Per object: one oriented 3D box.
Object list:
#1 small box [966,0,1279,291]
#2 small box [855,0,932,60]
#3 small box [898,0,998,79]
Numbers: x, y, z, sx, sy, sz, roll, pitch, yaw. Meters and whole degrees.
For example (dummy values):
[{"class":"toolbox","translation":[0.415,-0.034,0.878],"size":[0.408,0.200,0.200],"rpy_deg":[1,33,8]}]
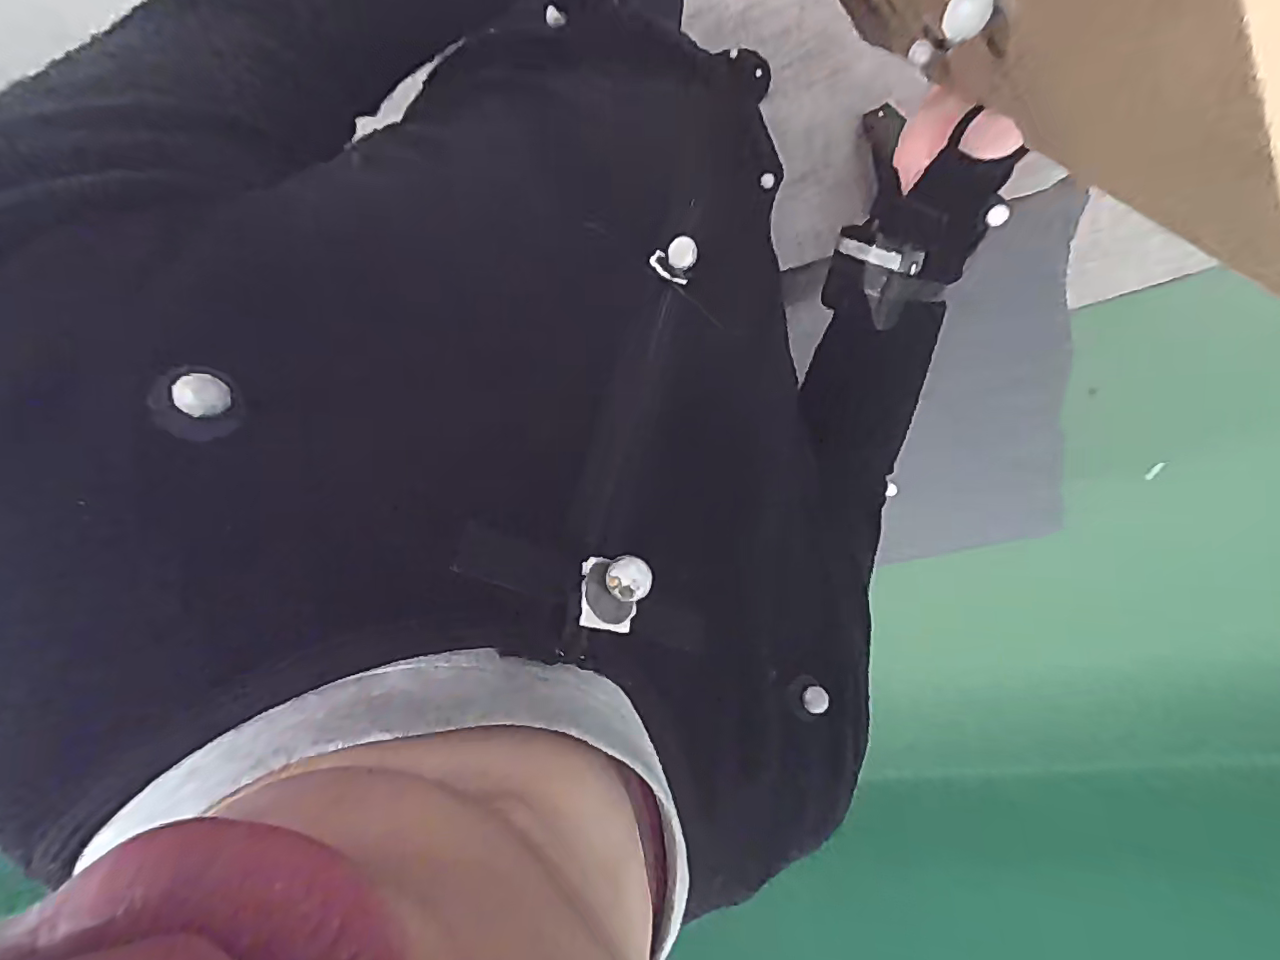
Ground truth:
[{"class":"small box","translation":[0.183,-0.183,0.113],"size":[0.168,0.176,0.179],"rpy_deg":[35,129,-28]},{"class":"small box","translation":[0.202,-0.419,0.338],"size":[0.168,0.176,0.179],"rpy_deg":[35,127,-27]},{"class":"small box","translation":[0.191,-0.303,0.224],"size":[0.168,0.176,0.179],"rpy_deg":[33,127,-27]}]
